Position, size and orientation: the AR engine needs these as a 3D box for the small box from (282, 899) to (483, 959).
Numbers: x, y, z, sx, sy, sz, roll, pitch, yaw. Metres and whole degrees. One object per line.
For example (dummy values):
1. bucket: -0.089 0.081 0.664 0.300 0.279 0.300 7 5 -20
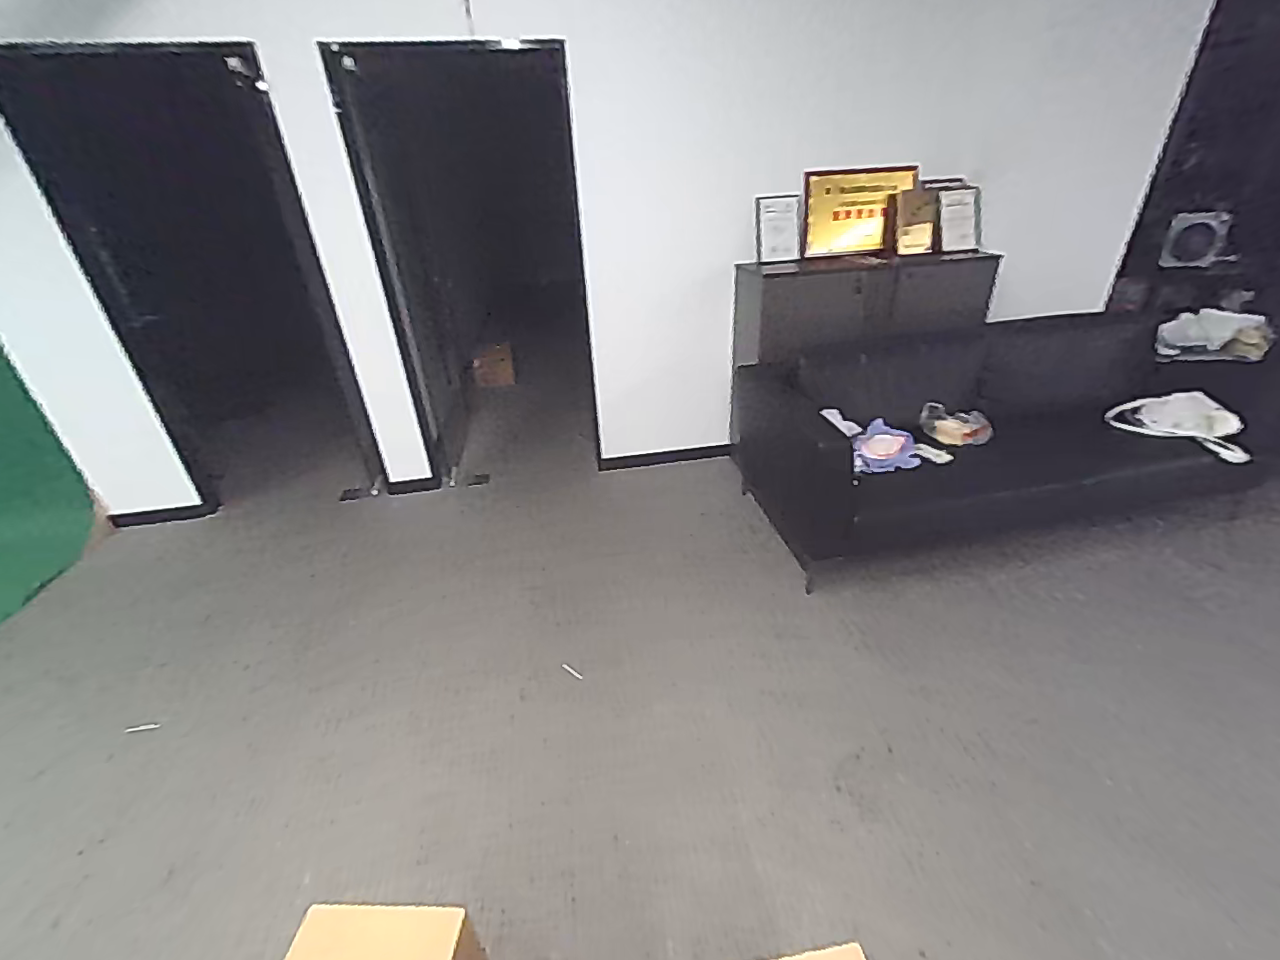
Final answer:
1. small box: -0.255 0.541 0.513 0.168 0.176 0.179 -3 29 5
